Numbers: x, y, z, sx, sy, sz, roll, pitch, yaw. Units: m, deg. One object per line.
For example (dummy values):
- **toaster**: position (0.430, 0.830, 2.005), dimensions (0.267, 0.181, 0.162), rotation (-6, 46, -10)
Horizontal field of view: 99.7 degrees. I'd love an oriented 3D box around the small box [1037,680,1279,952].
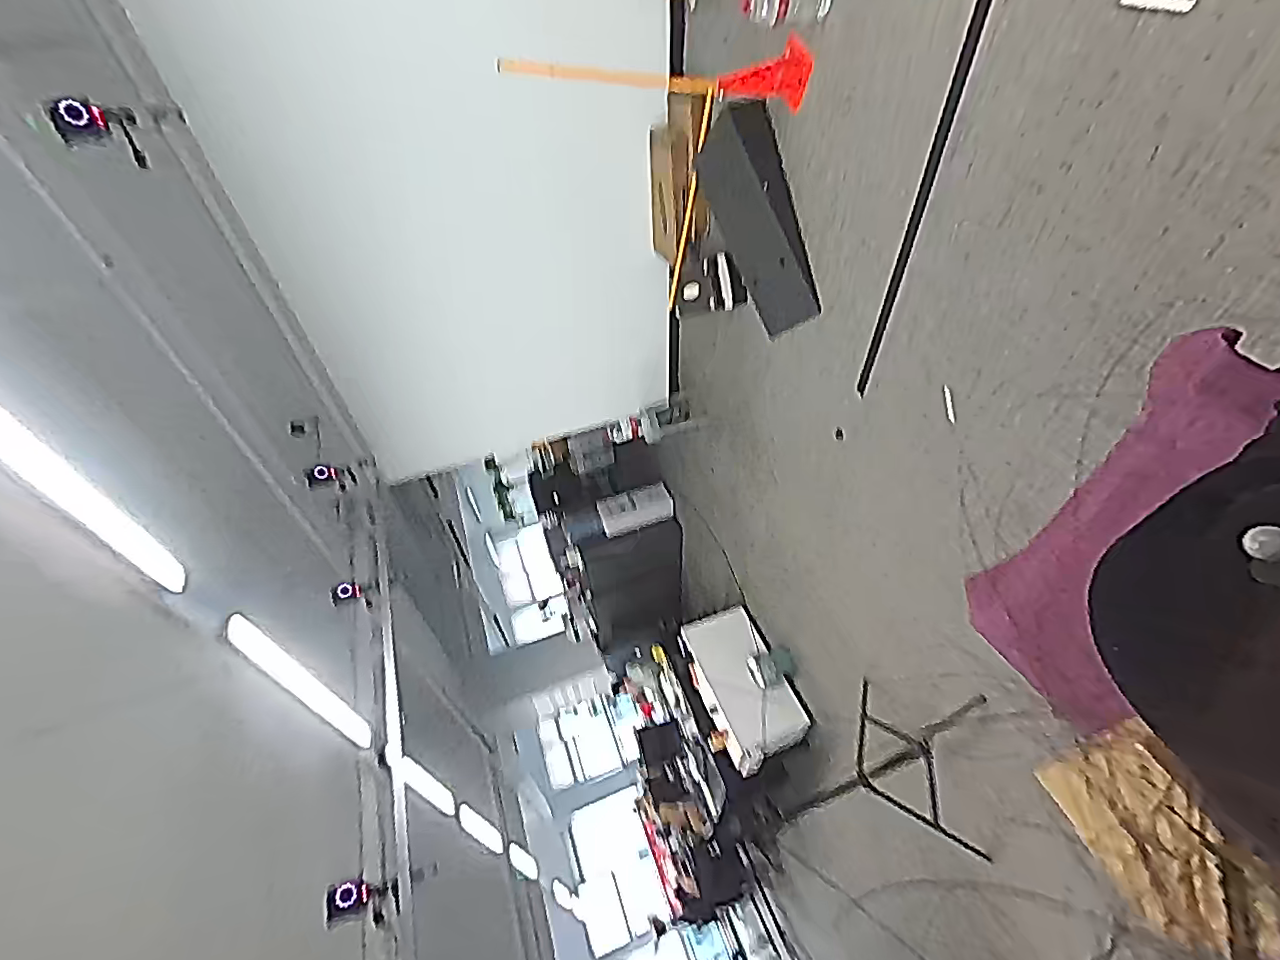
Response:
- **small box**: position (0.569, 0.328, 0.541), dimensions (0.179, 0.176, 0.168), rotation (88, 160, -53)
